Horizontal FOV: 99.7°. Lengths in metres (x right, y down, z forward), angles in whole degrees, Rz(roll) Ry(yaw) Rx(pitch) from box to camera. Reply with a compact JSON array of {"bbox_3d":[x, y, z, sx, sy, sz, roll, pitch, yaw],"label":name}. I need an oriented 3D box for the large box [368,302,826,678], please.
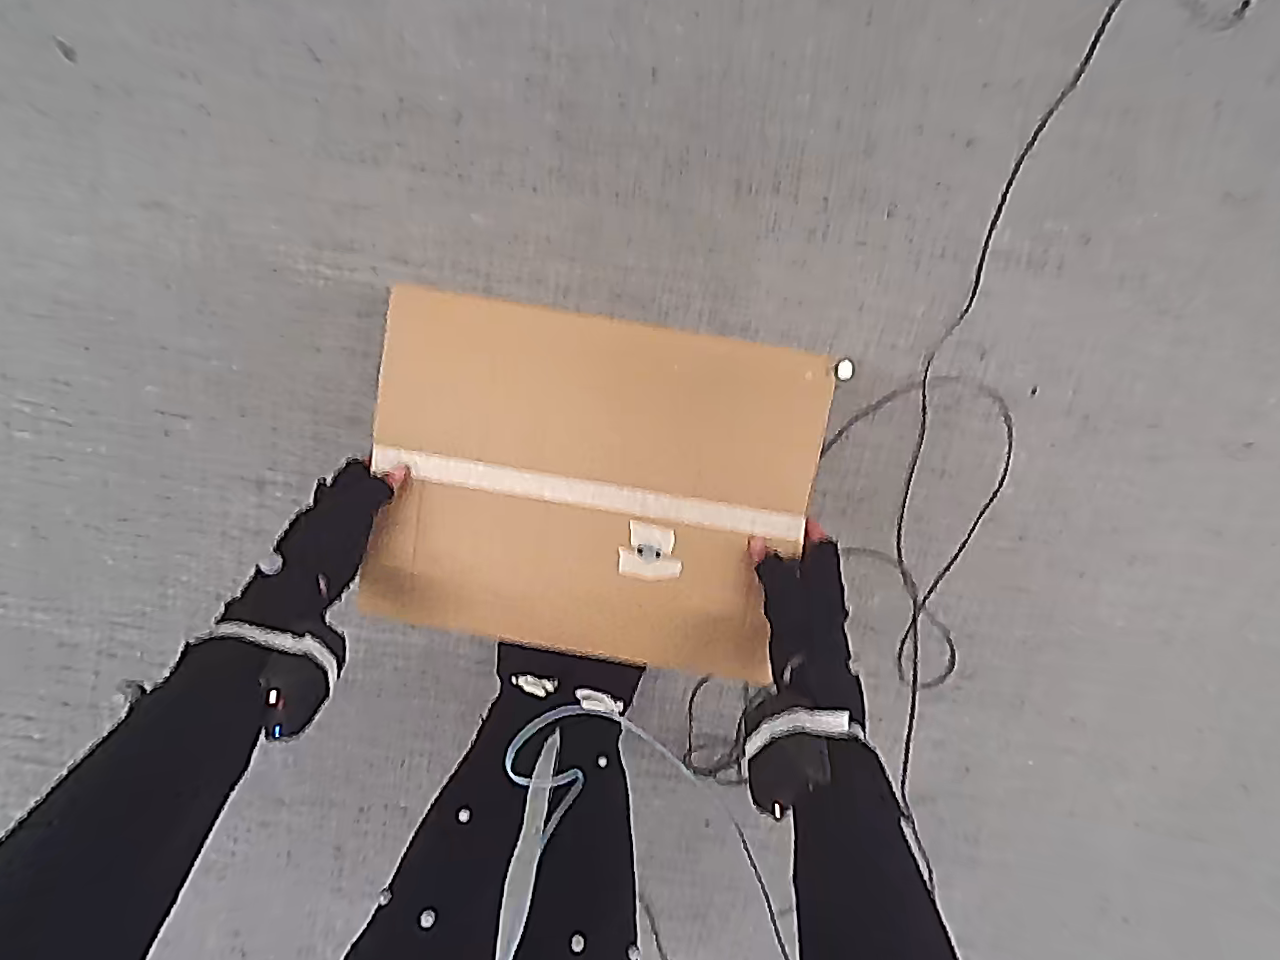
[{"bbox_3d":[-0.046,0.000,0.655,0.408,0.320,0.320,9,97,0],"label":"large box"}]
